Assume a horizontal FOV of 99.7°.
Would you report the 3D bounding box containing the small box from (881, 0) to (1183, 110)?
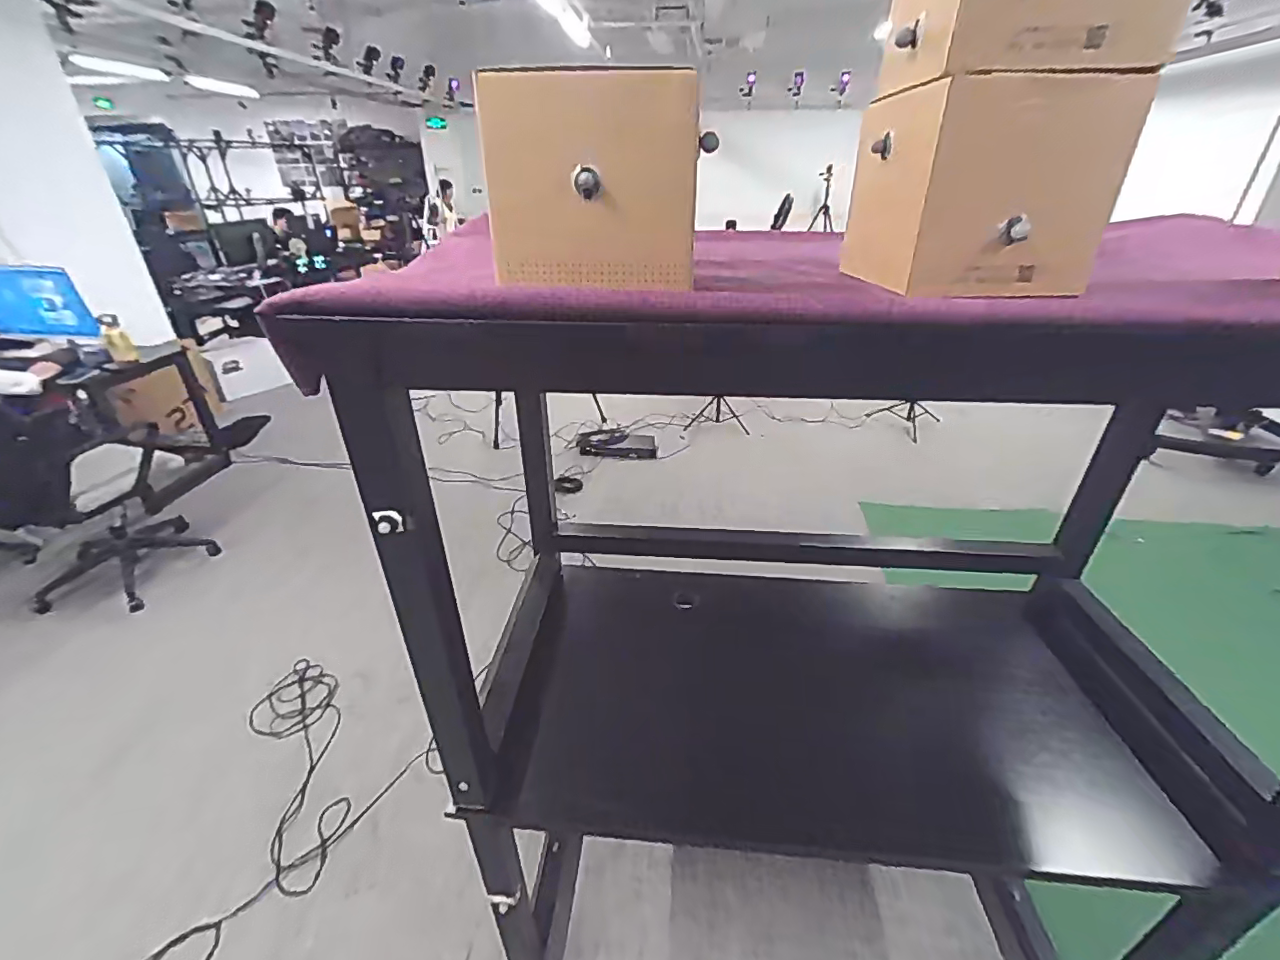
[{"bbox_3d":[0.323,-0.421,0.450,0.168,0.176,0.179,2,30,3],"label":"small box"}]
